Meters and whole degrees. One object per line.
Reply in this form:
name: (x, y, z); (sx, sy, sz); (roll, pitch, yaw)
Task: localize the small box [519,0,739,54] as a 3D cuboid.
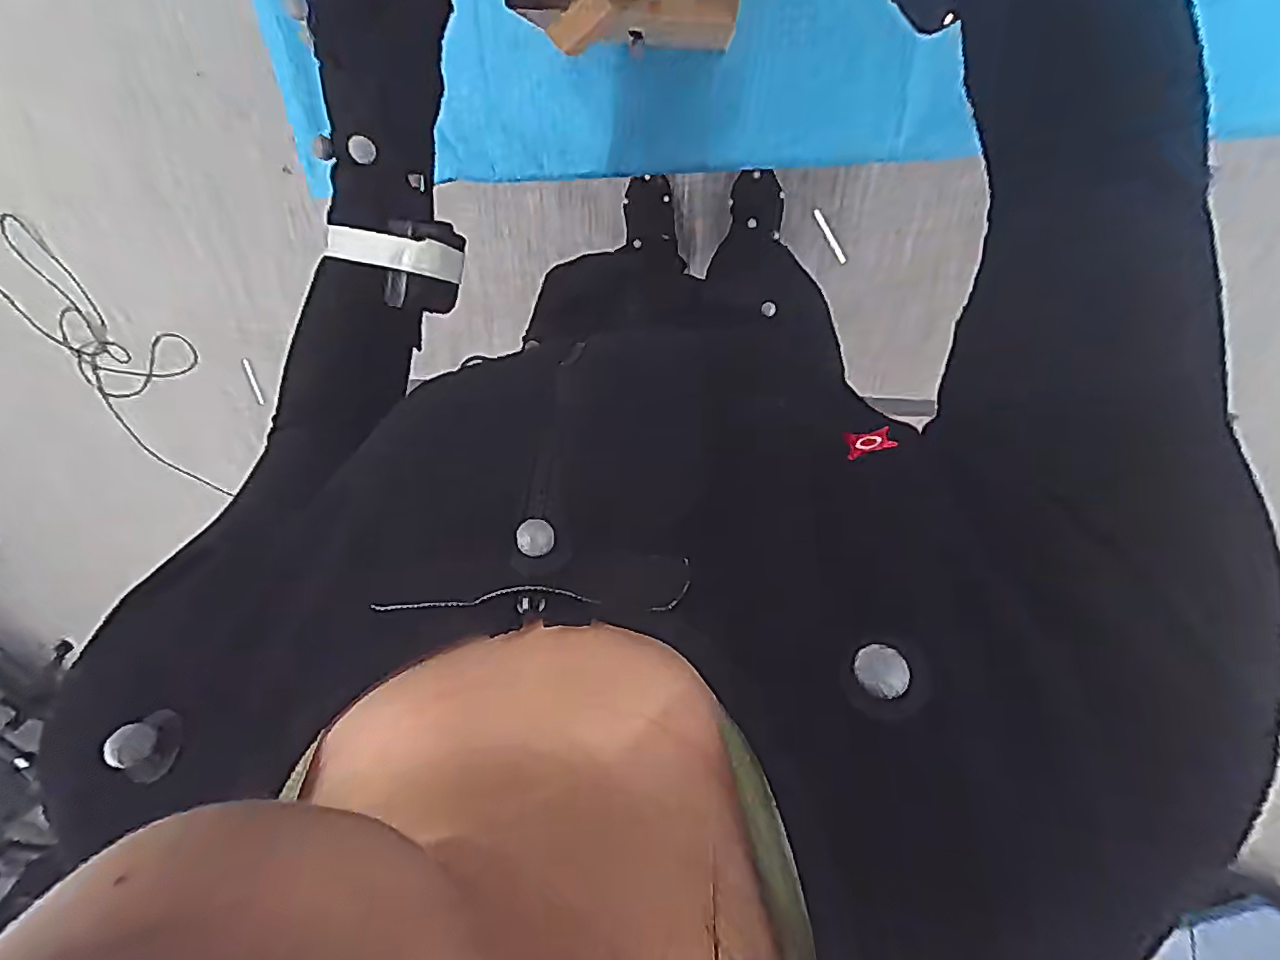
small box: (0.000, -0.443, 0.403); (0.168, 0.176, 0.179); (5, 123, 2)
